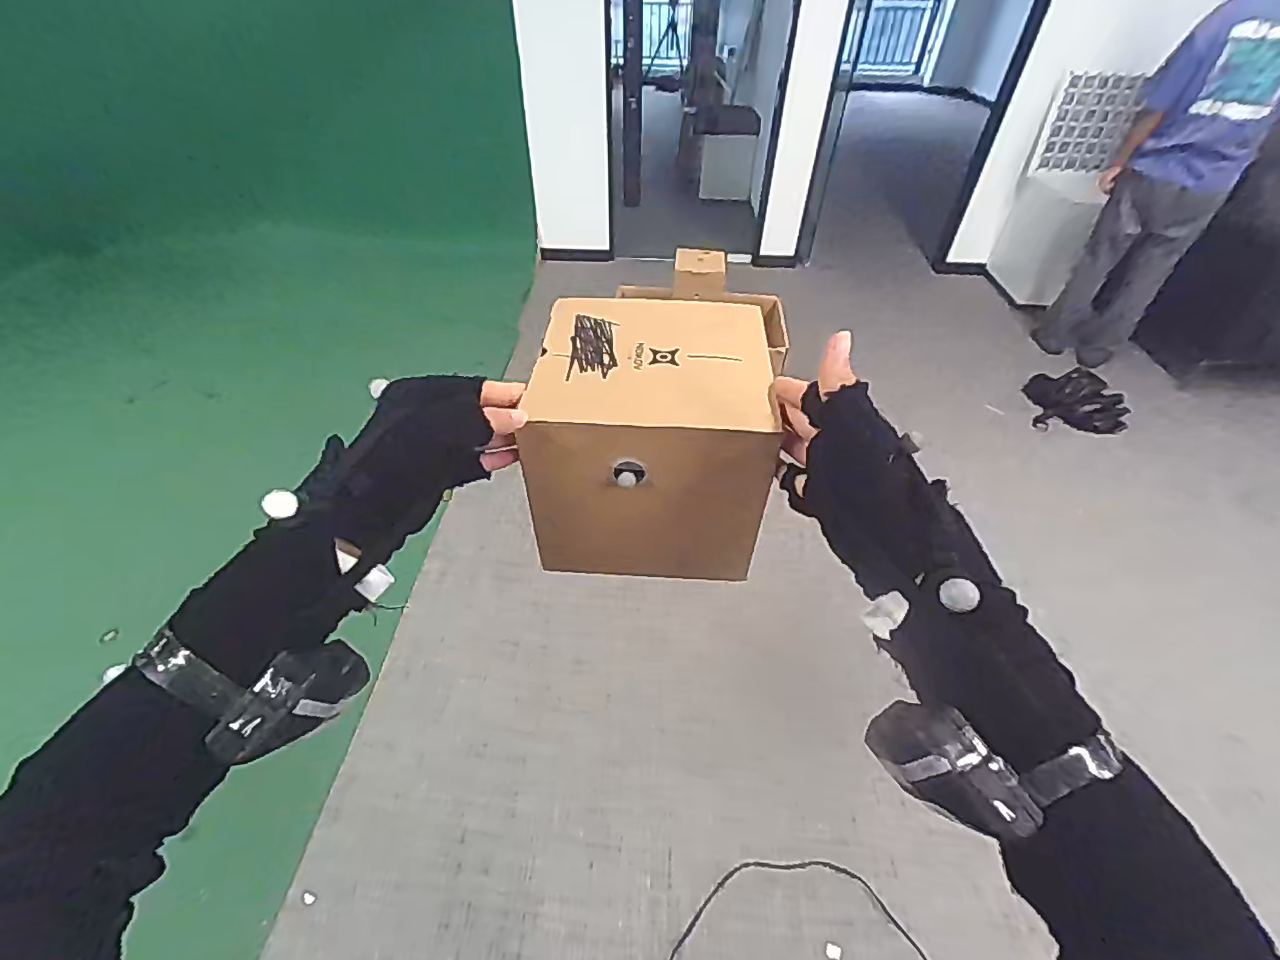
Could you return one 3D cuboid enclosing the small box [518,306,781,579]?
[{"bbox_3d":[0.011,-0.031,0.462,0.179,0.176,0.168,3,45,2],"label":"small box"}]

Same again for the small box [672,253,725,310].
[{"bbox_3d":[0.201,-0.663,1.869,0.168,0.176,0.179,6,45,2],"label":"small box"}]
